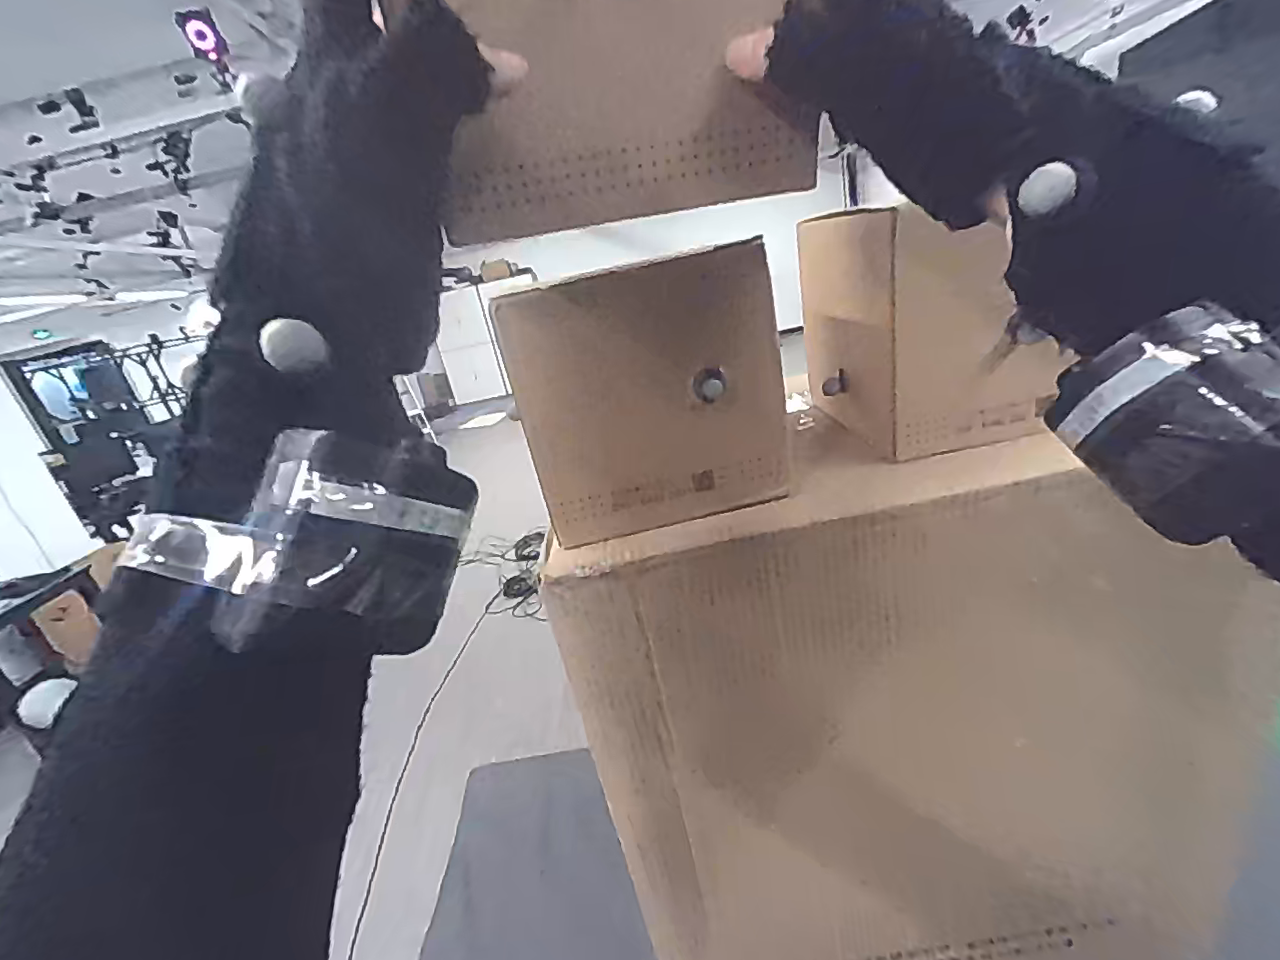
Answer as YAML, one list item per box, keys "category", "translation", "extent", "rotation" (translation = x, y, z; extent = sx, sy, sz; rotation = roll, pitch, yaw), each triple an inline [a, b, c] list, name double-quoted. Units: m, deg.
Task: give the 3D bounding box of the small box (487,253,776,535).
- category: "small box"
  translation: [-0.003, -0.068, 0.419]
  extent: [0.168, 0.176, 0.179]
  rotation: [-12, 21, -2]

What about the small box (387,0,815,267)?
- category: "small box"
  translation: [-0.025, -0.220, 0.277]
  extent: [0.179, 0.176, 0.168]
  rotation: [-13, 32, -10]

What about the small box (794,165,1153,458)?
- category: "small box"
  translation: [0.234, -0.126, 0.426]
  extent: [0.168, 0.176, 0.179]
  rotation: [-11, 23, 1]
